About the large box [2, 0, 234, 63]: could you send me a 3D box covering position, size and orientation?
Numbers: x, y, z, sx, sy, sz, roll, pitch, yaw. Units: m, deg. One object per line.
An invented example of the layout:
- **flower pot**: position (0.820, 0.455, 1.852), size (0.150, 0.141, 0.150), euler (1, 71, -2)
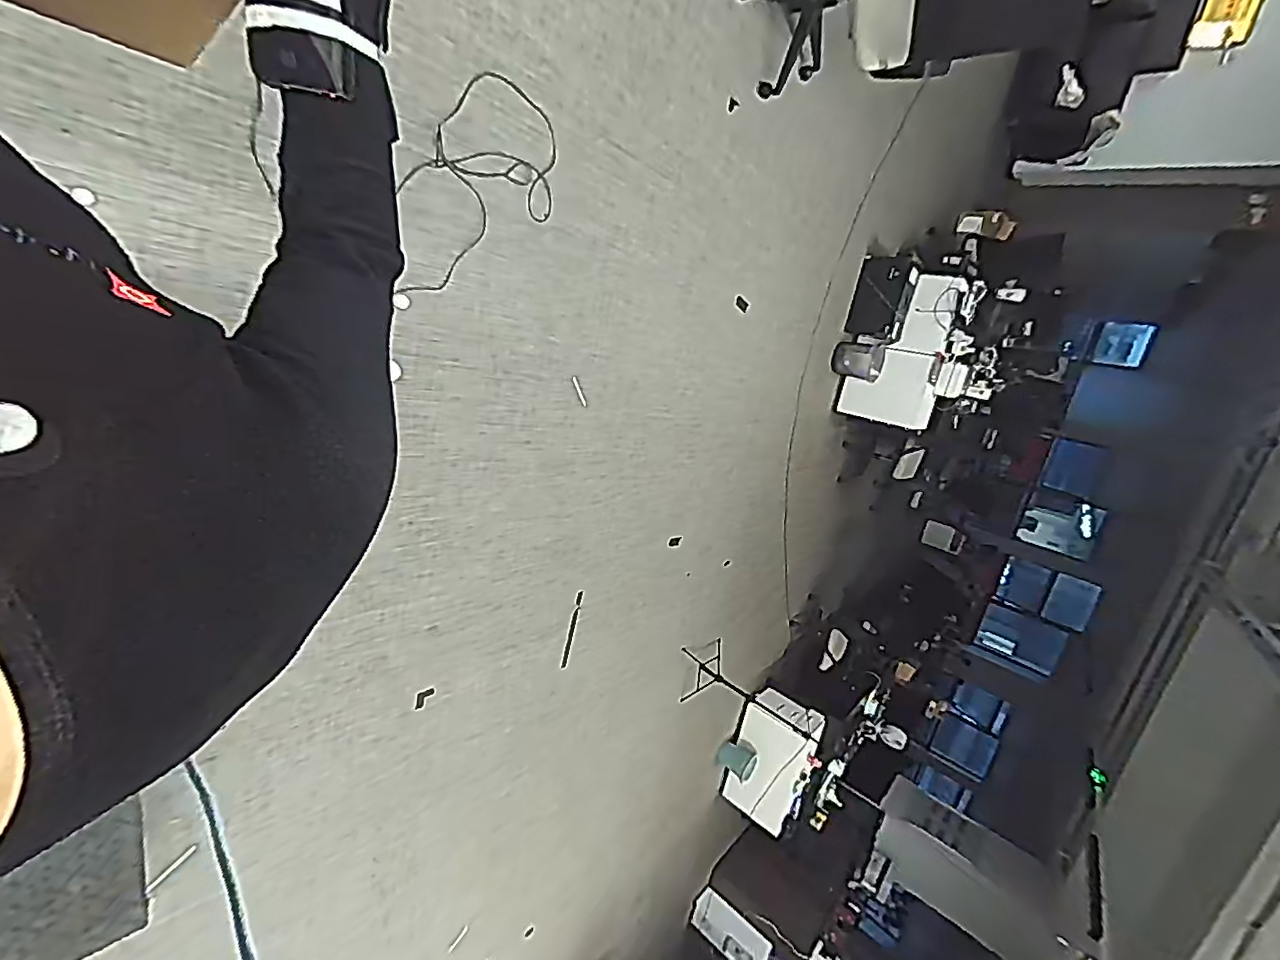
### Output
- **large box**: position (-0.437, -0.488, 0.241), size (0.408, 0.320, 0.320), euler (-7, 108, -48)
